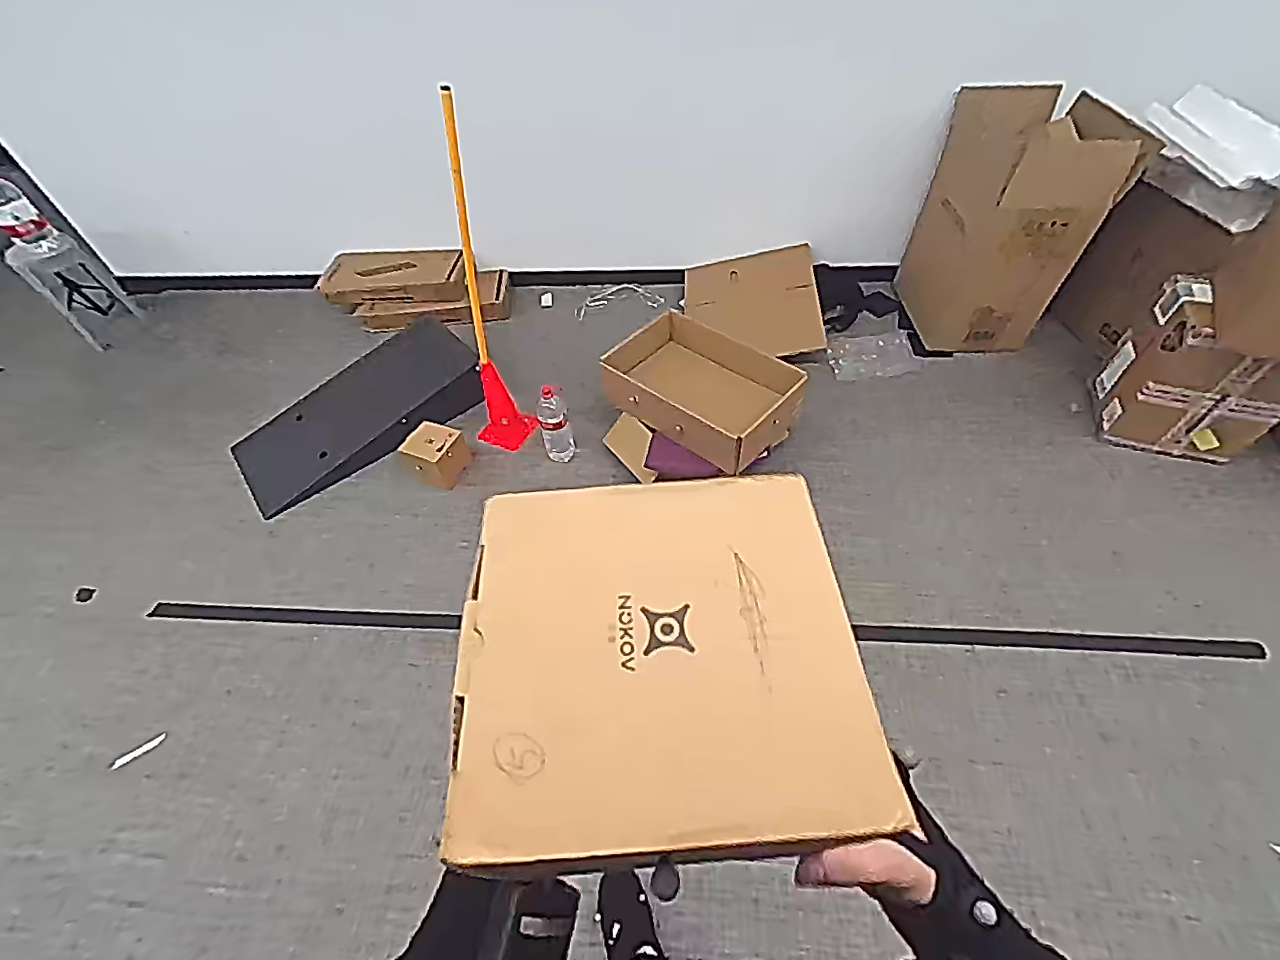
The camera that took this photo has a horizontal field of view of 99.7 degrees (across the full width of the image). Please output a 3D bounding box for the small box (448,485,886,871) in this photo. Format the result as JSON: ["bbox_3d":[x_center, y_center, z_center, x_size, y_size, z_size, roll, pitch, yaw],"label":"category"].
[{"bbox_3d":[0.007,0.122,0.320,0.179,0.176,0.168,-4,53,-3],"label":"small box"}]
